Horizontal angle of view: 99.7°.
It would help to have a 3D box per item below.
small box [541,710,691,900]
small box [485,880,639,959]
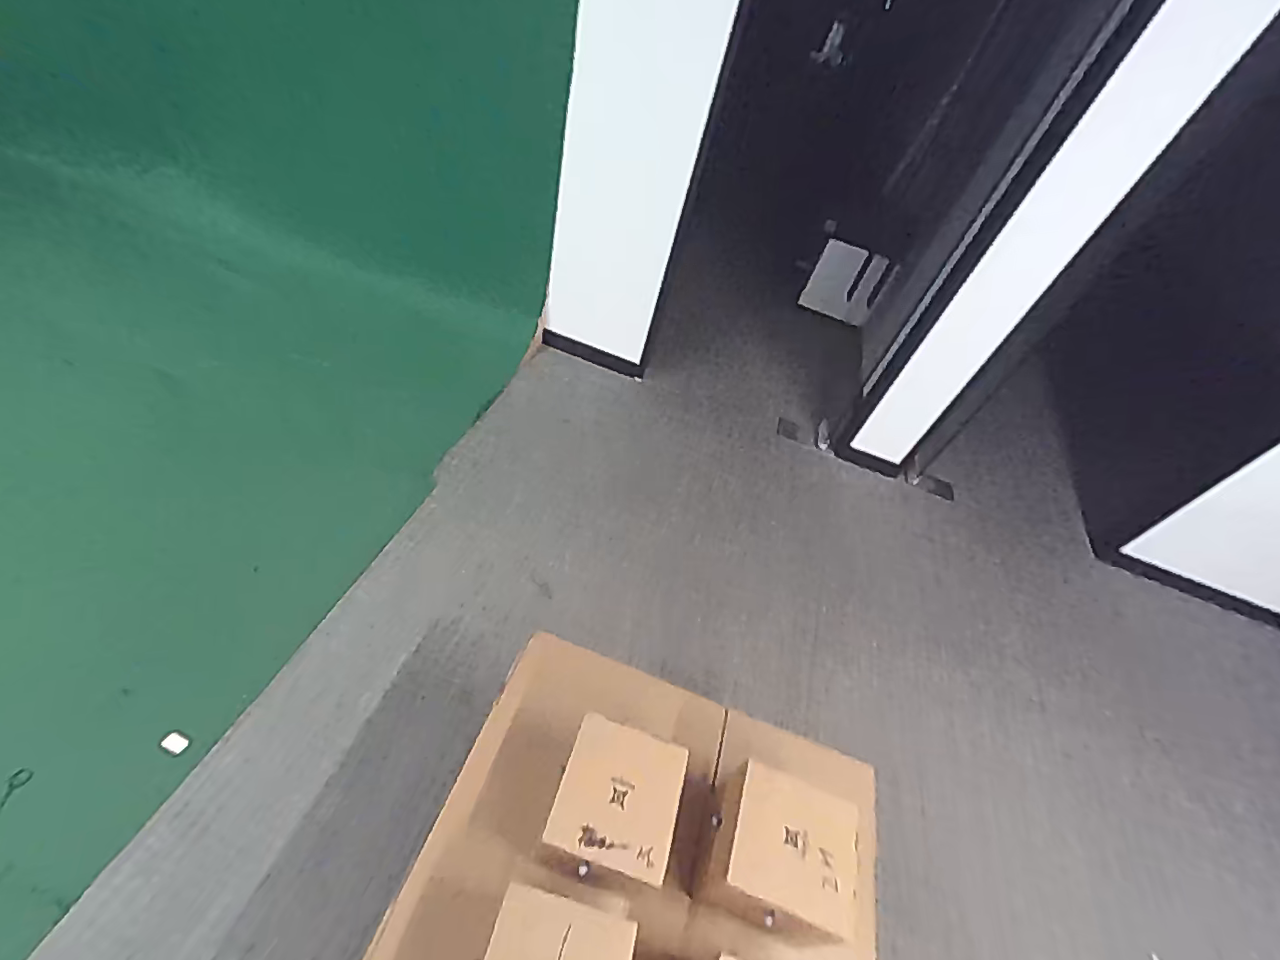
[{"bbox_3d":[-0.039,0.479,0.796,0.168,0.176,0.179,19,44,3],"label":"small box"},{"bbox_3d":[-0.112,0.616,0.647,0.168,0.176,0.179,18,46,0],"label":"small box"}]
